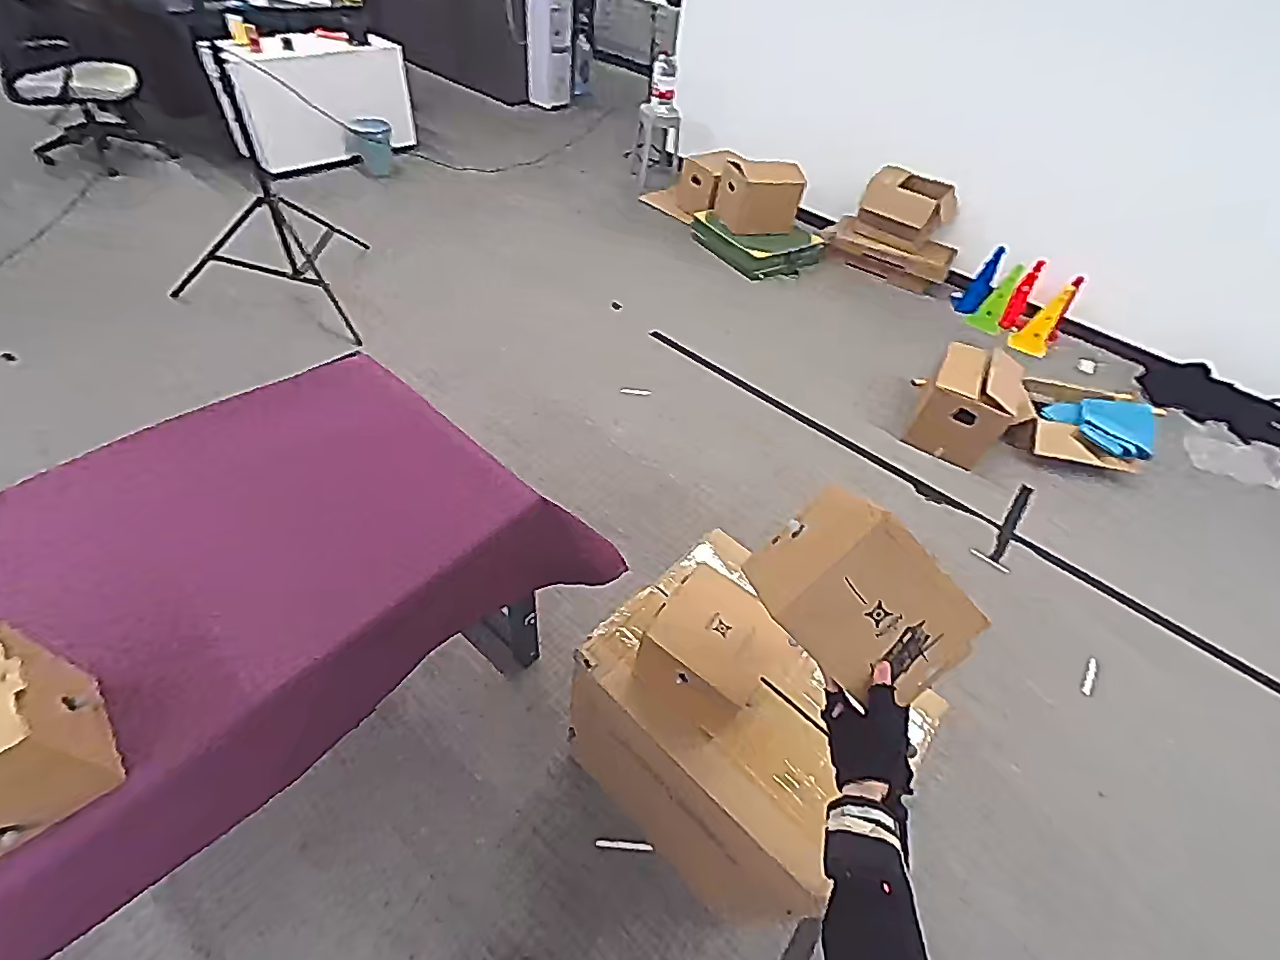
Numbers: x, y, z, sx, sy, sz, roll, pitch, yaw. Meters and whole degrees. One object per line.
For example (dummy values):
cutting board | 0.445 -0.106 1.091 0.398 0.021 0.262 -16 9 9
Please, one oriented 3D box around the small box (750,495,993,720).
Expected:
small box | 0.261 0.138 0.653 0.168 0.176 0.179 -44 96 5

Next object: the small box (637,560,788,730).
small box | 0.111 0.270 0.873 0.179 0.176 0.168 33 54 18

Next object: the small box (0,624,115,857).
small box | -0.718 0.296 0.577 0.179 0.176 0.168 -32 59 -32
